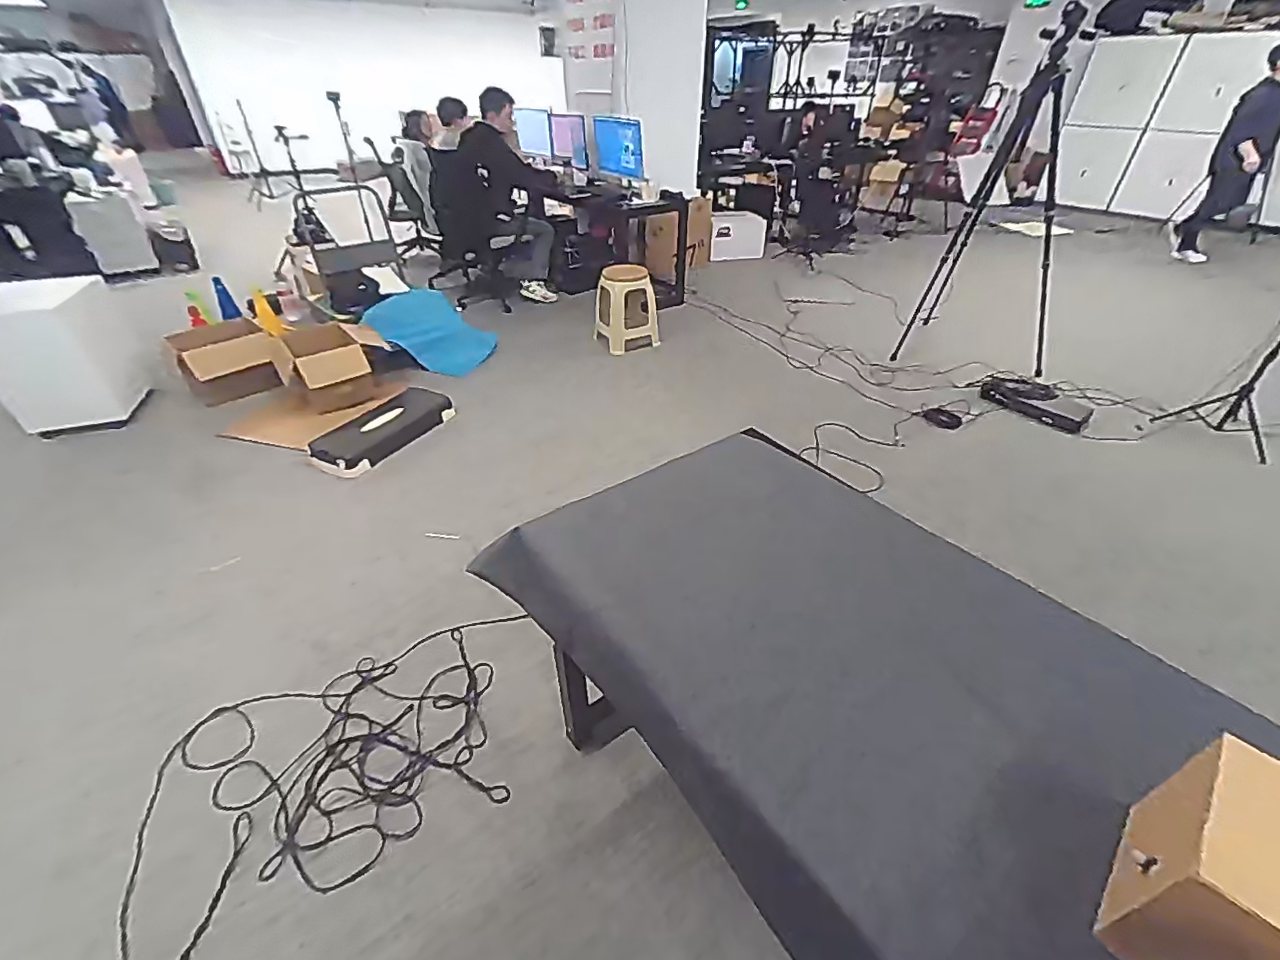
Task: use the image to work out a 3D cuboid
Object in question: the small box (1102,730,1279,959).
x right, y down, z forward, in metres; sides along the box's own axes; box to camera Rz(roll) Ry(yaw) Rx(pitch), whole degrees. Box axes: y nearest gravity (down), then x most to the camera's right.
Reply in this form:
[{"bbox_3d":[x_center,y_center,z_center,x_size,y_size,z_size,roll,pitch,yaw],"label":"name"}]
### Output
[{"bbox_3d":[0.553,0.372,0.472,0.179,0.176,0.168,-28,46,-35],"label":"small box"}]
